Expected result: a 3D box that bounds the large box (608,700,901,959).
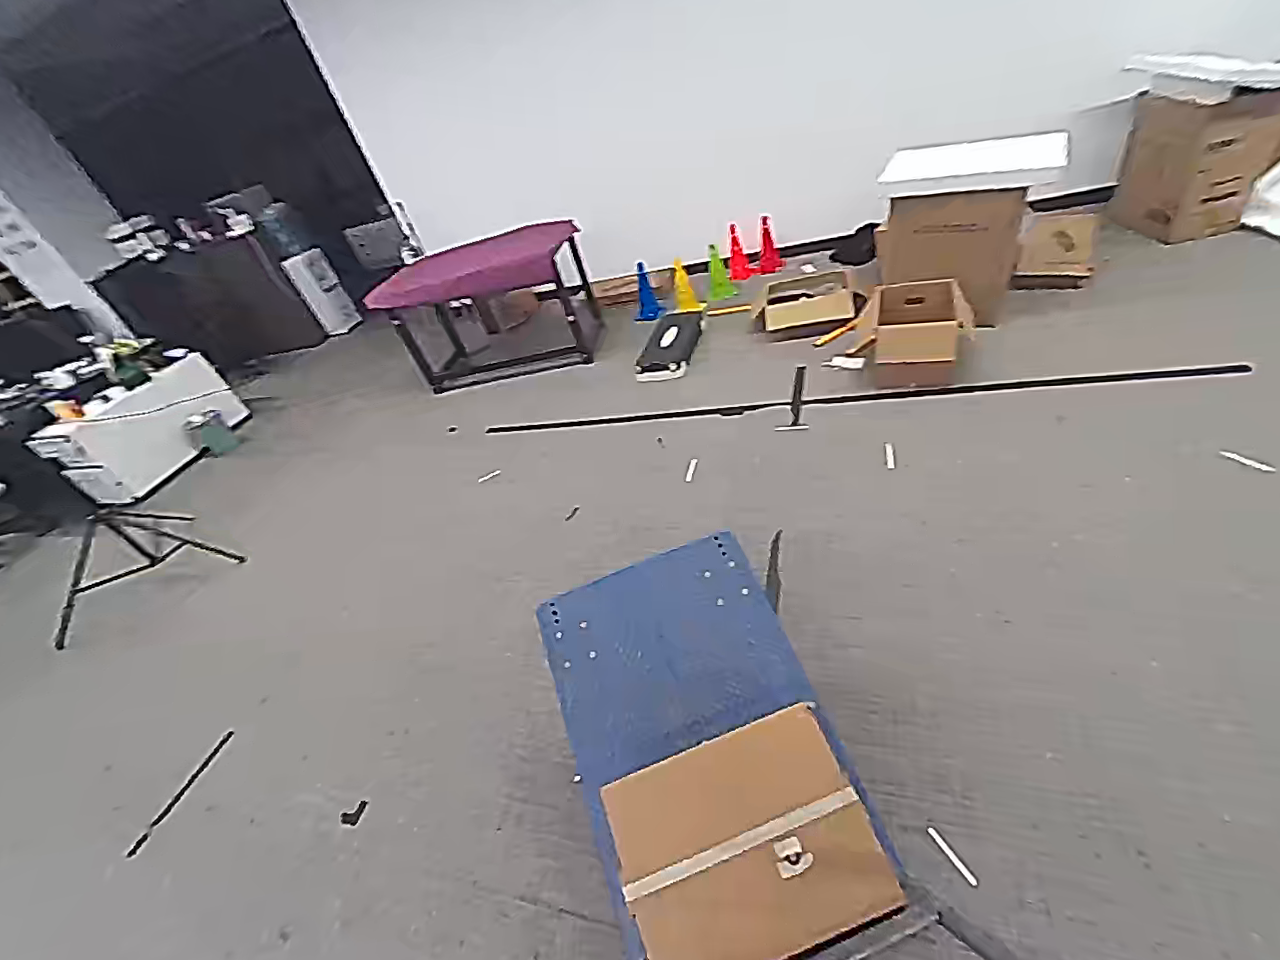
[{"bbox_3d":[0.194,0.674,1.032,0.408,0.320,0.320,-22,60,-4],"label":"large box"}]
